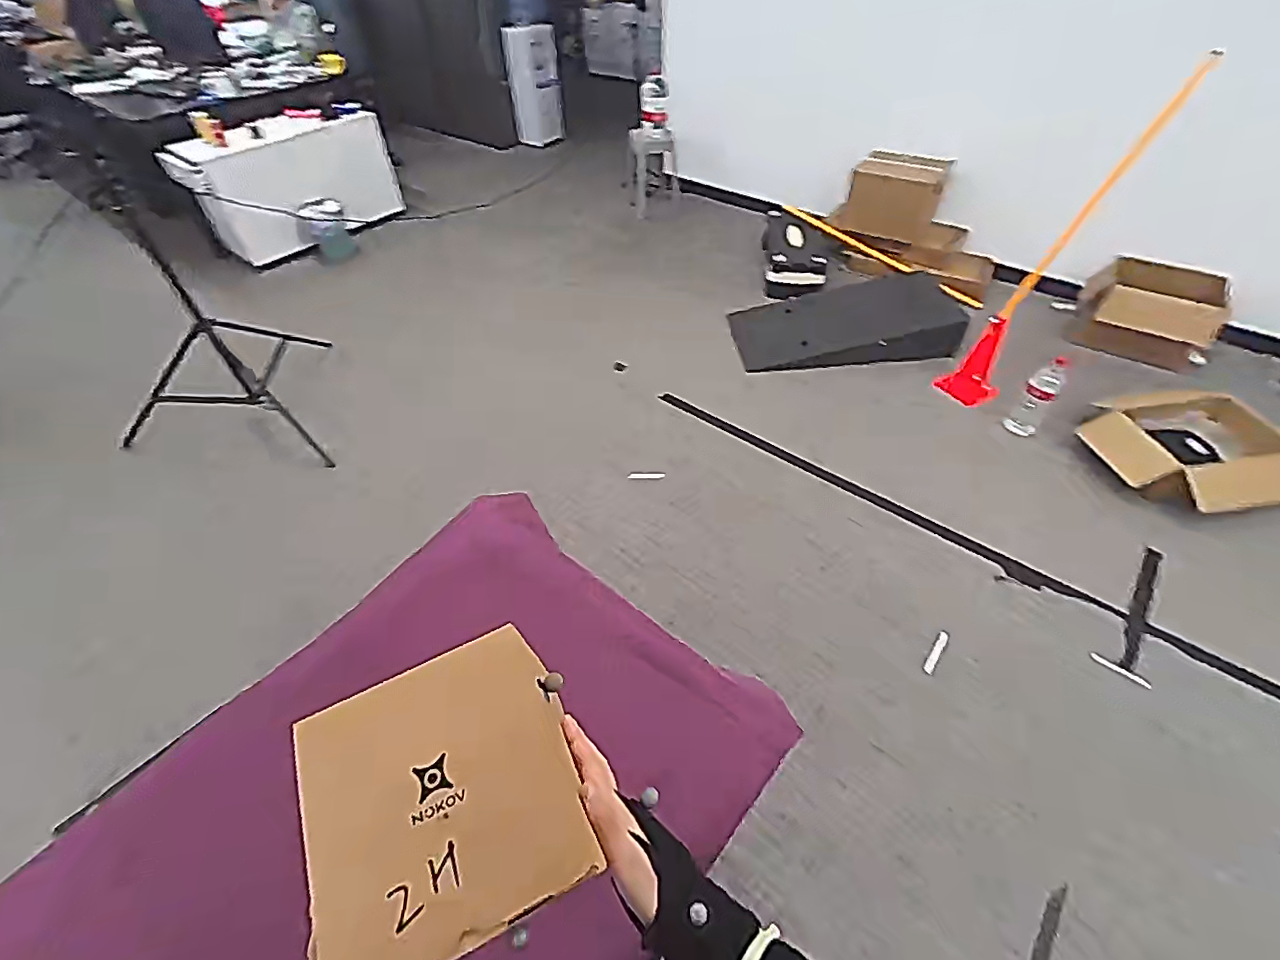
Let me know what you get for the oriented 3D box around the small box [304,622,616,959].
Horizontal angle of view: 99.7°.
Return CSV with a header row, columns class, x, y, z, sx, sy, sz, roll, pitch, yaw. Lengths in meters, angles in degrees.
class,x,y,z,sx,sy,sz,roll,pitch,yaw
small box,-0.129,0.246,0.425,0.168,0.176,0.179,-23,58,-11
